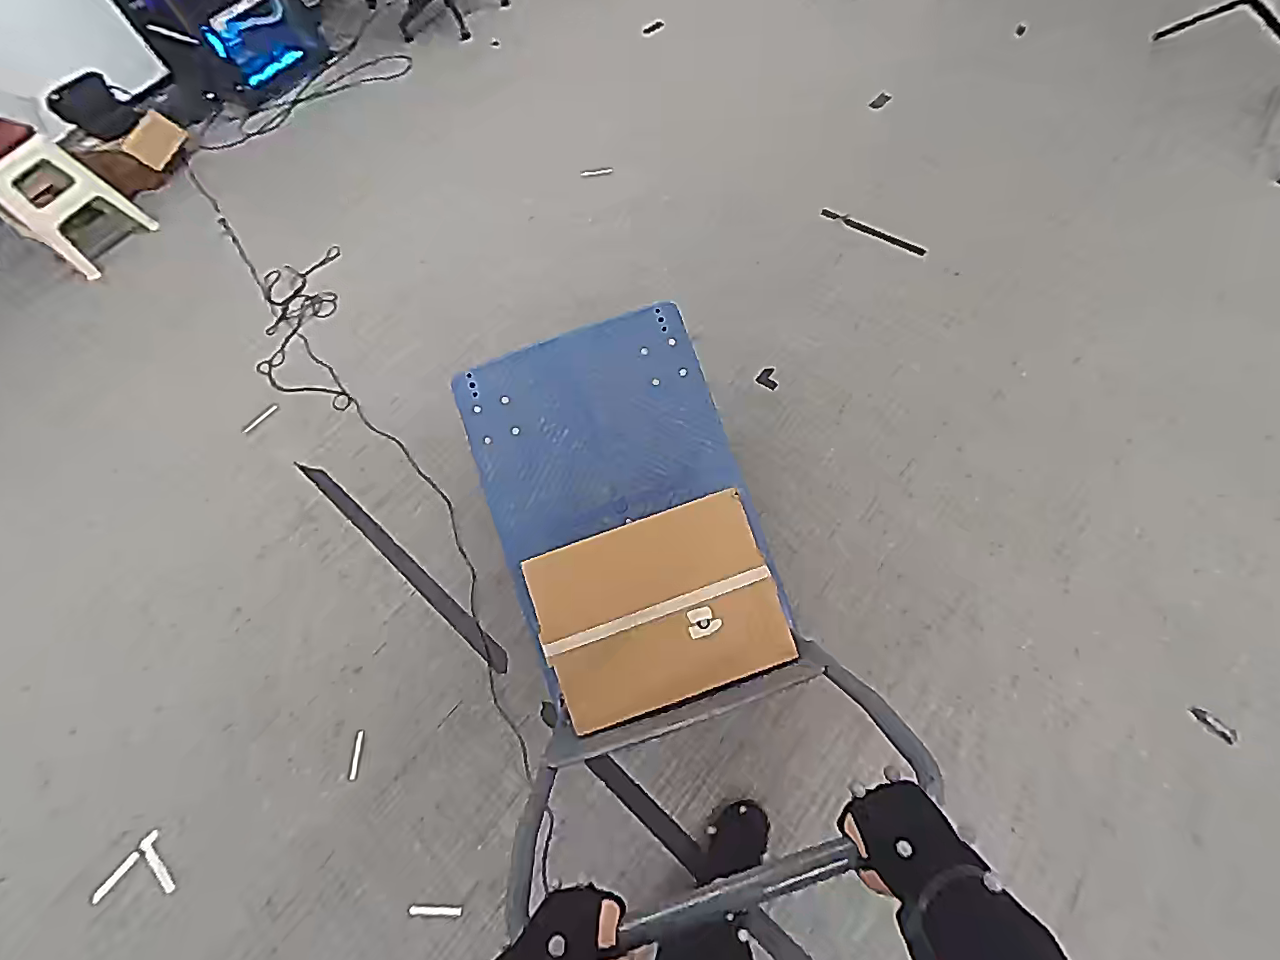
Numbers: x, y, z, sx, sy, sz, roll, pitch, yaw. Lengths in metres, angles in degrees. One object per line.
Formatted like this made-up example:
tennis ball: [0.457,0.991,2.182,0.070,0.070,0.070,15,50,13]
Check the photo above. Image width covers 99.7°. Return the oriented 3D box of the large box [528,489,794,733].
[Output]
large box: [0.034,0.246,1.101,0.408,0.320,0.320,-20,84,-2]
